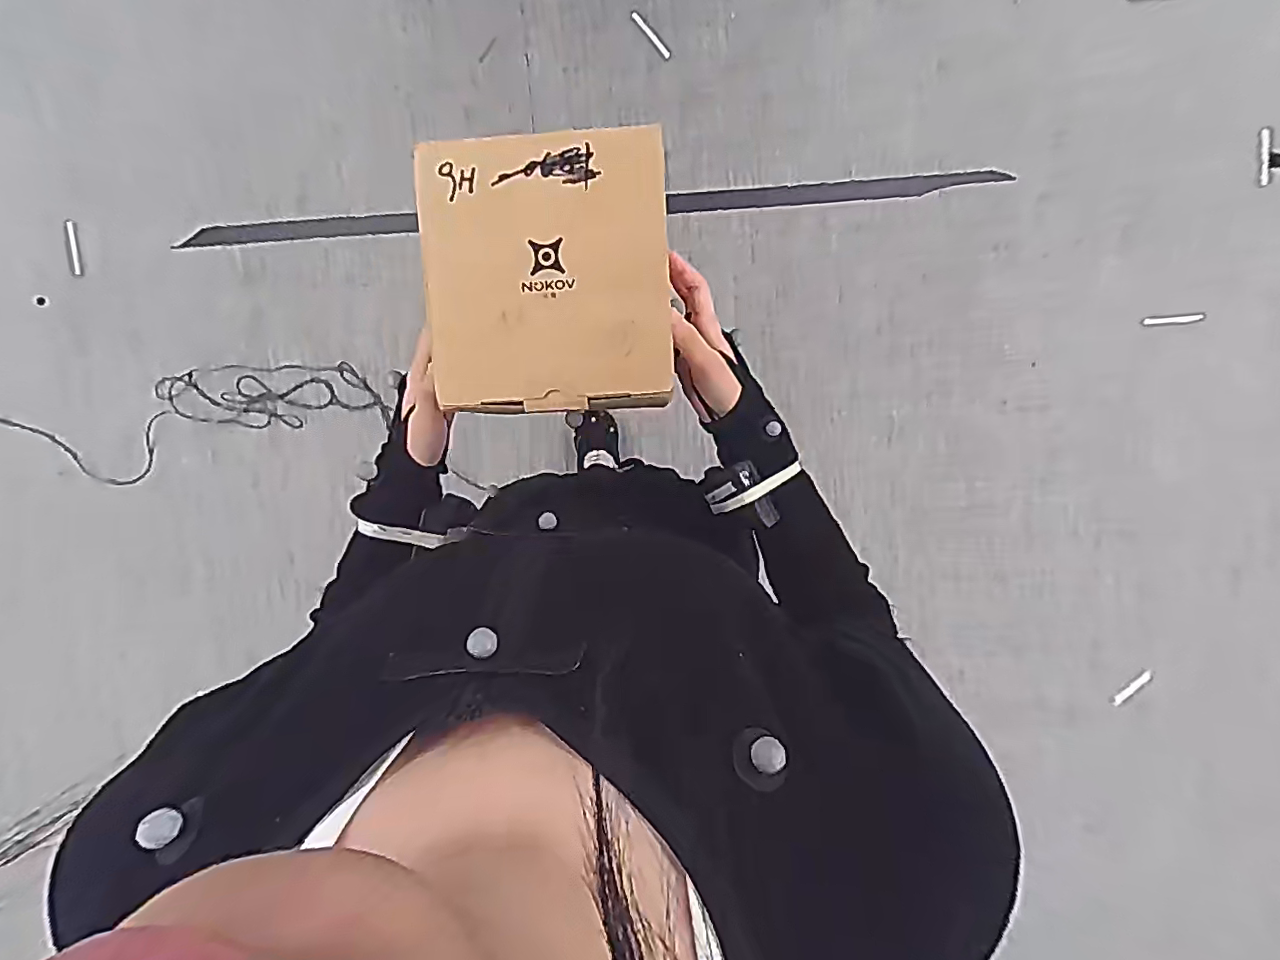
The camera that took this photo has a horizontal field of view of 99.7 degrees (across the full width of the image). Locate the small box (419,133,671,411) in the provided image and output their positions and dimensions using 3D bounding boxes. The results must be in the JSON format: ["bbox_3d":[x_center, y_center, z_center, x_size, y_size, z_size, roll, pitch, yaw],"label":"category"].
[{"bbox_3d":[-0.061,-0.148,0.445,0.168,0.176,0.179,-3,96,0],"label":"small box"}]

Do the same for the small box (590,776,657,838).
[{"bbox_3d":[-0.044,0.955,1.508,0.179,0.176,0.168,2,95,0],"label":"small box"}]

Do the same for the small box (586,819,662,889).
[{"bbox_3d":[-0.043,0.978,1.345,0.179,0.176,0.168,6,94,-1],"label":"small box"}]

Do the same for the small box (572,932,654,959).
[{"bbox_3d":[-0.054,1.012,1.020,0.168,0.176,0.179,3,93,-1],"label":"small box"}]

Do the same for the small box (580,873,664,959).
[{"bbox_3d":[-0.042,1.001,1.184,0.179,0.176,0.168,3,94,0],"label":"small box"}]
